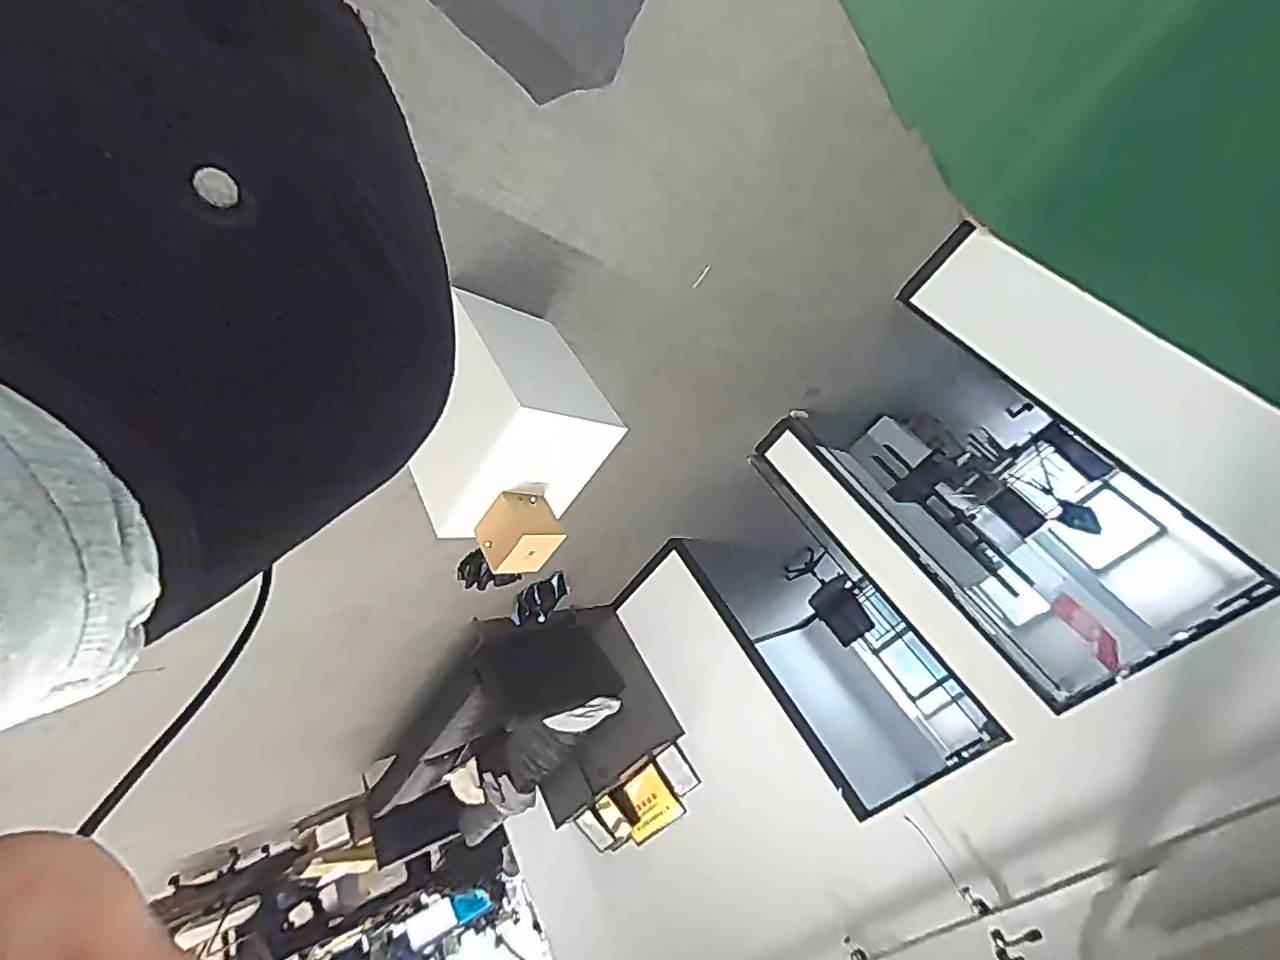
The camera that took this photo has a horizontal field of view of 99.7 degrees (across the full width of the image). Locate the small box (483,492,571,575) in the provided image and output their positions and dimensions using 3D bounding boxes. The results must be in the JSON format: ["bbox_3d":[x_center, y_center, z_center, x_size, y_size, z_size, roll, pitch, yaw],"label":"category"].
[{"bbox_3d":[-0.343,0.159,1.601,0.168,0.176,0.179,5,131,-50],"label":"small box"}]
